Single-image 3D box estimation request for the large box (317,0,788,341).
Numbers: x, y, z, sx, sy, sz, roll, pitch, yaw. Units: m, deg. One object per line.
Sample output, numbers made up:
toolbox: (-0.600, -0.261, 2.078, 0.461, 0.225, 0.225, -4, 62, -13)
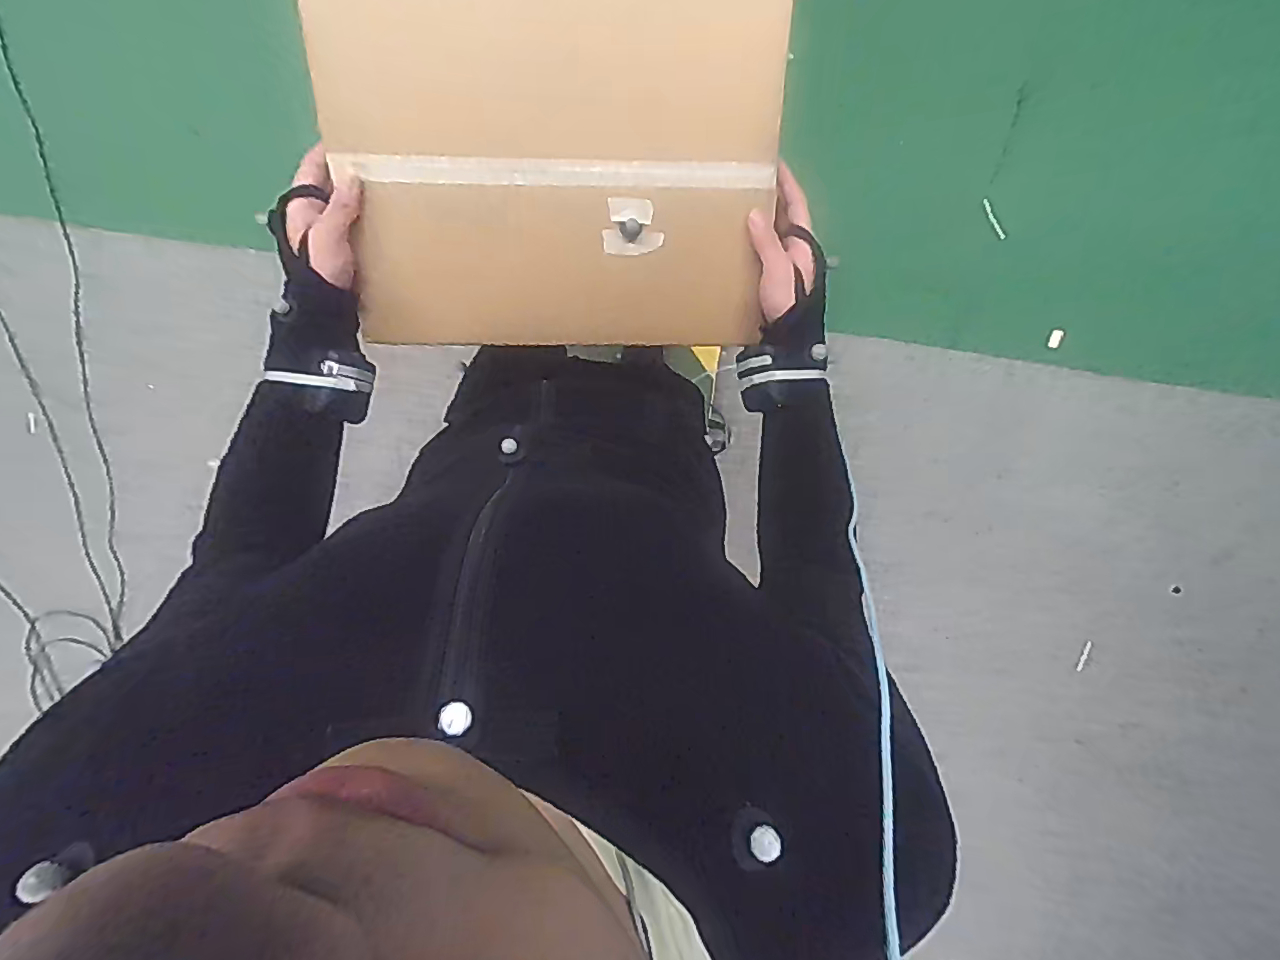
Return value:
large box: (-0.082, -0.349, 0.641, 0.408, 0.320, 0.320, -1, 115, -4)
